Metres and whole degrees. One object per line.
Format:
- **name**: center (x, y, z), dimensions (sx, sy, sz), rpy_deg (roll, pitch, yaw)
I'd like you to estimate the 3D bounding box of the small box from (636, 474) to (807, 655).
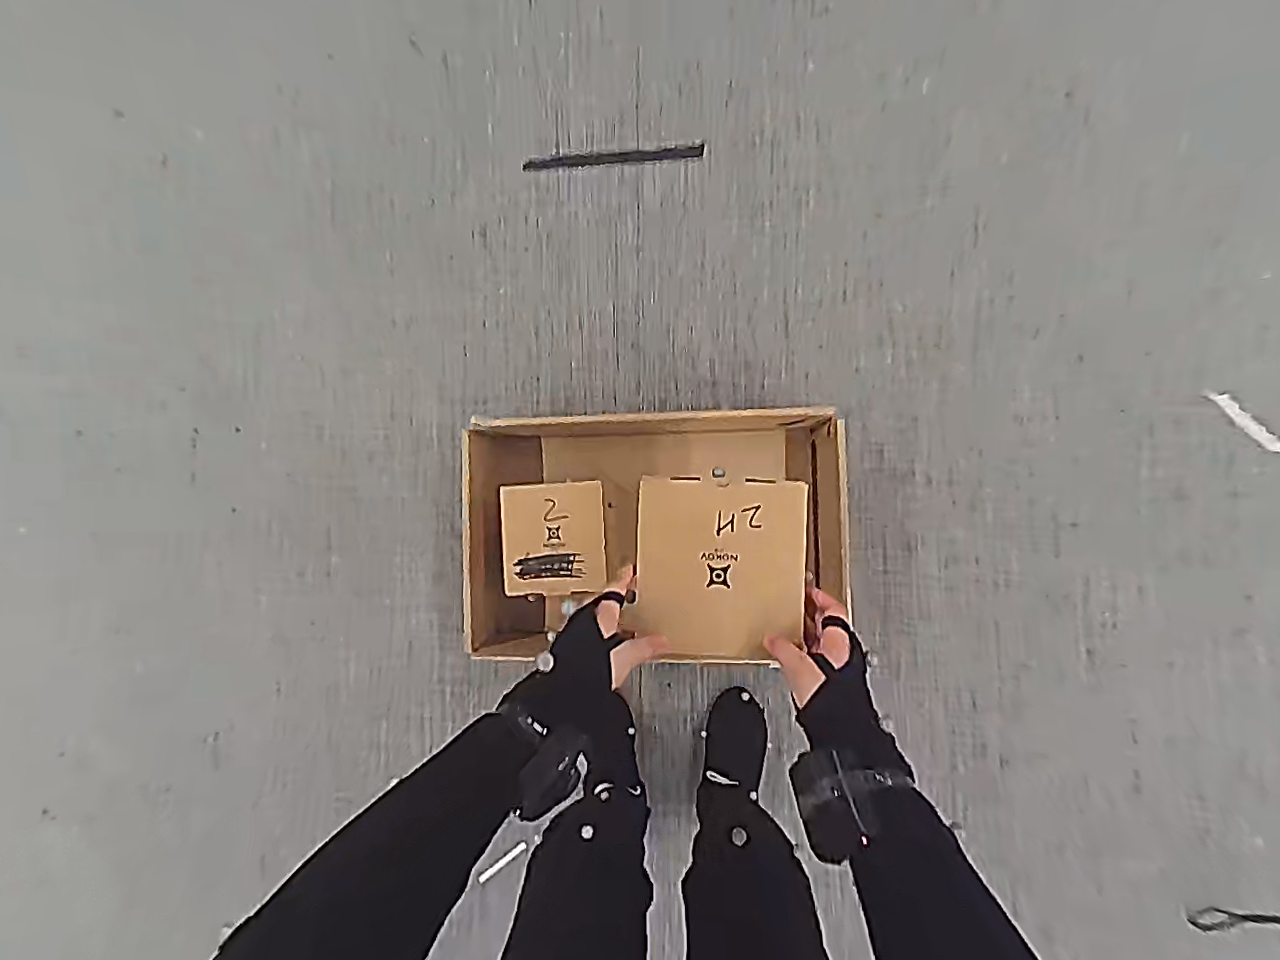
- **small box**: center (0.088, 0.085, 0.621), dimensions (0.168, 0.176, 0.179), rpy_deg (2, 88, 5)
